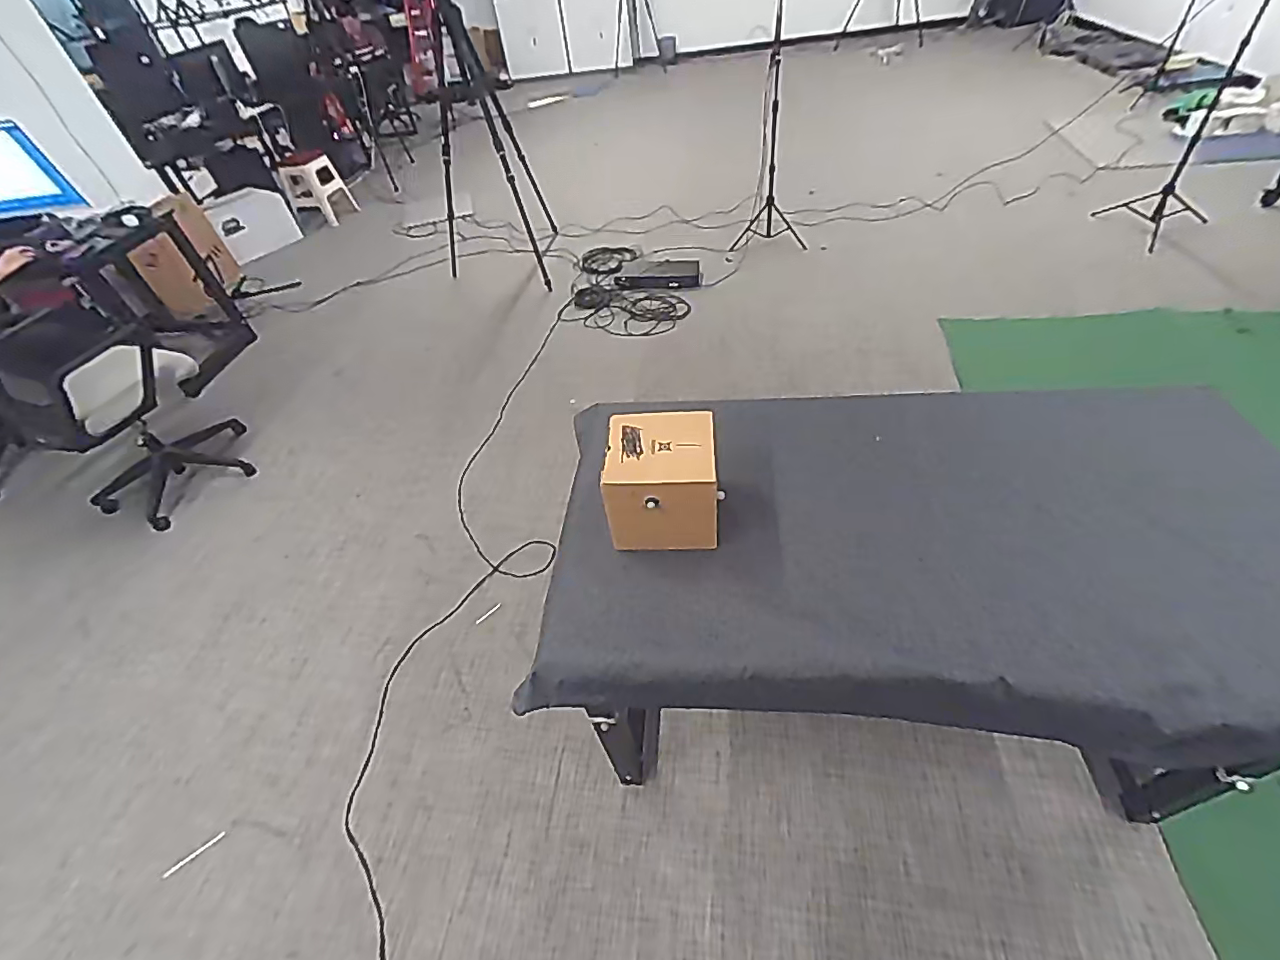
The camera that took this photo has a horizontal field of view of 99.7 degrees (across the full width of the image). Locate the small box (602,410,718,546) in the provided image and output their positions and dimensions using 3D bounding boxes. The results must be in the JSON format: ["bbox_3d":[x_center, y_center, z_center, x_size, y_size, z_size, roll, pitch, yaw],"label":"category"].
[{"bbox_3d":[0.042,0.000,0.921,0.179,0.176,0.168,-1,47,6],"label":"small box"}]
